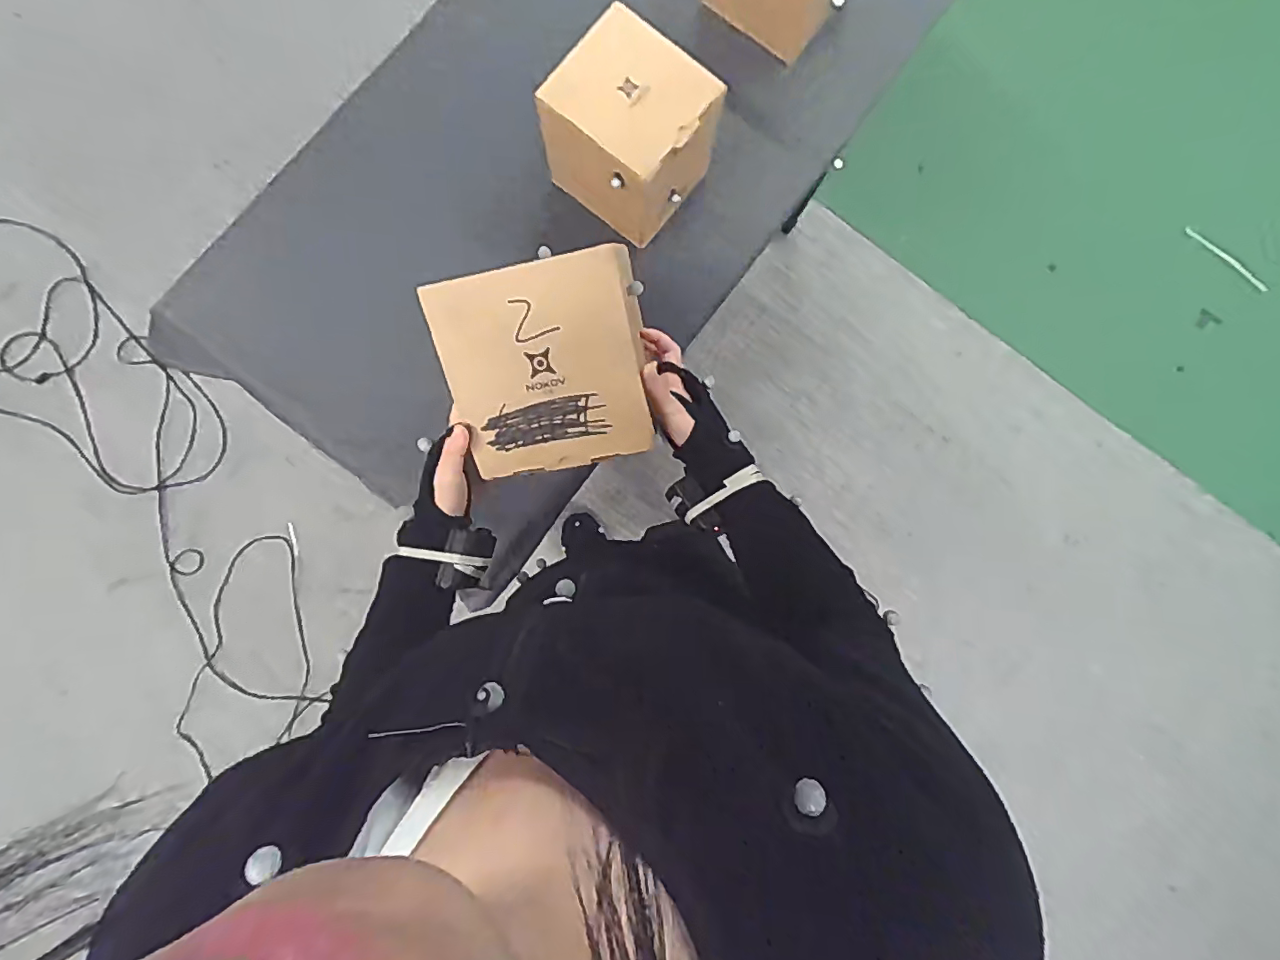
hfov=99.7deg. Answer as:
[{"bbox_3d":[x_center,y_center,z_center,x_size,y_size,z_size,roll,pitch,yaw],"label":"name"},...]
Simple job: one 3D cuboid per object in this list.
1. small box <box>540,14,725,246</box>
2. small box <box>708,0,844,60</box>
[{"bbox_3d":[-0.012,-0.467,0.751,0.179,0.176,0.168,38,85,1],"label":"small box"},{"bbox_3d":[0.216,-0.767,0.776,0.179,0.176,0.168,36,87,1],"label":"small box"}]
